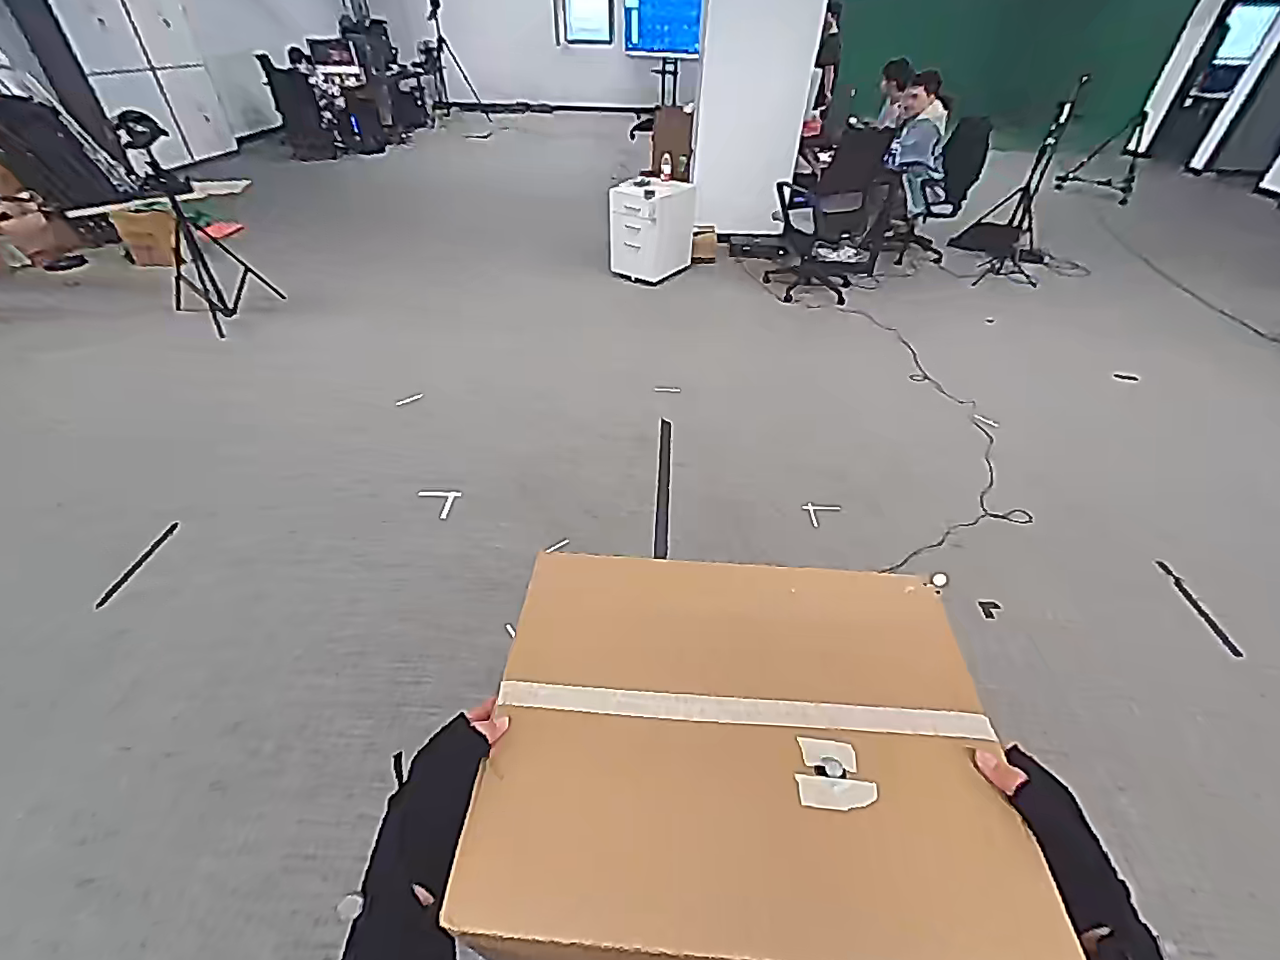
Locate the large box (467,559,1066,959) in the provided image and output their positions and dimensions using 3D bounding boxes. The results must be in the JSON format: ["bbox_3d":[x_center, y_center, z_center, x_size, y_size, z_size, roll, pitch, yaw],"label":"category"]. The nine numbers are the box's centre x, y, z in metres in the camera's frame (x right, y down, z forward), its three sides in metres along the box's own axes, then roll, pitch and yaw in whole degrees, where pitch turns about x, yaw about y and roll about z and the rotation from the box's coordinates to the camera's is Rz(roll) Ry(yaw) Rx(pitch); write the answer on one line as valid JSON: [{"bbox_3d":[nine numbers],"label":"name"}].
[{"bbox_3d":[0.085,0.306,0.562,0.408,0.320,0.320,3,43,3],"label":"large box"}]
